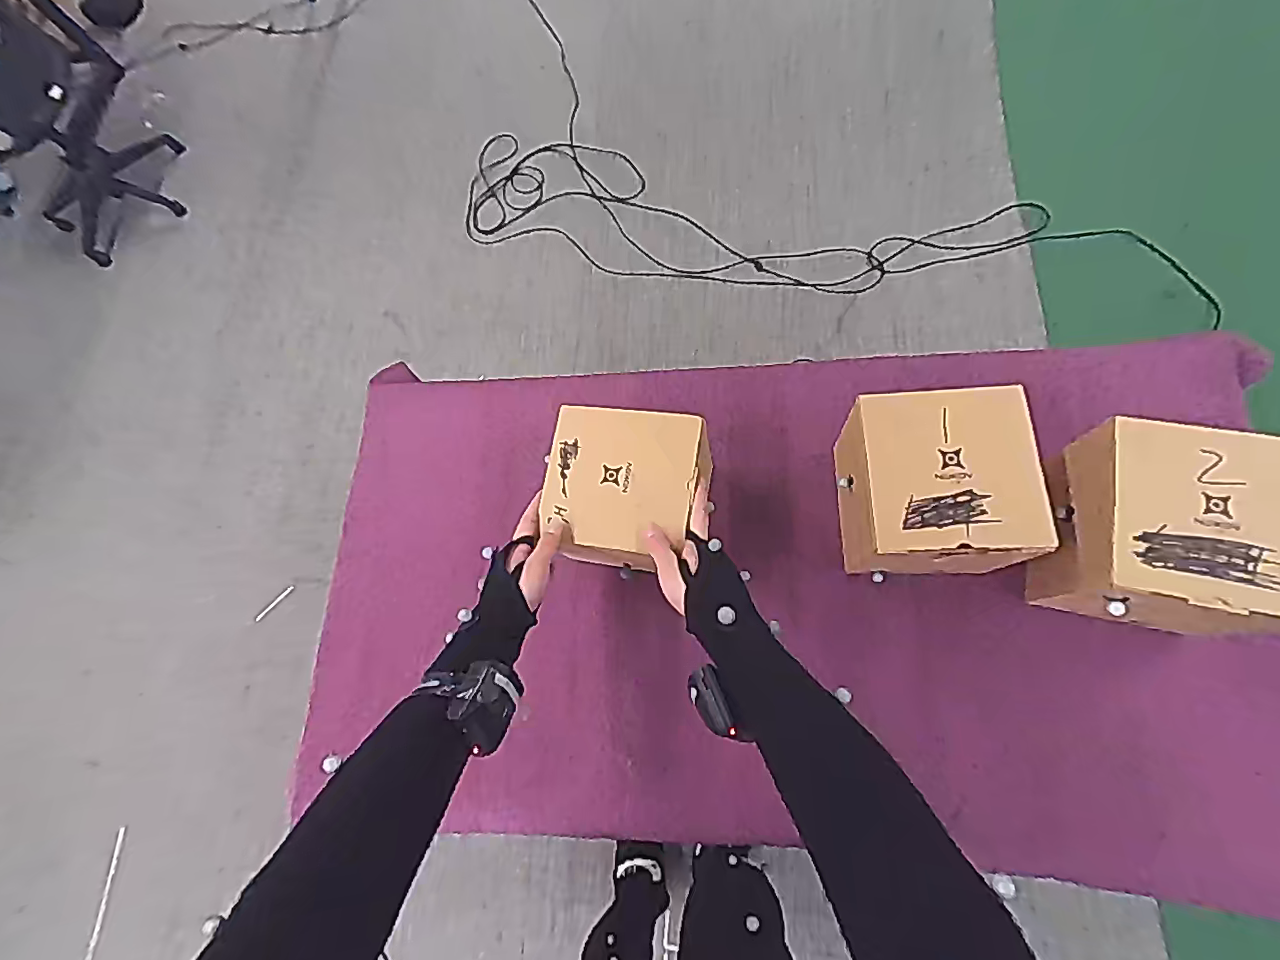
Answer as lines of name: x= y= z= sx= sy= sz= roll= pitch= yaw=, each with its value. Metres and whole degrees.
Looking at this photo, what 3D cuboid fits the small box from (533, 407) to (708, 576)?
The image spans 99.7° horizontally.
small box: x=-0.010 y=0.023 z=0.684 sx=0.179 sy=0.176 sz=0.168 roll=7 pitch=74 yaw=12
